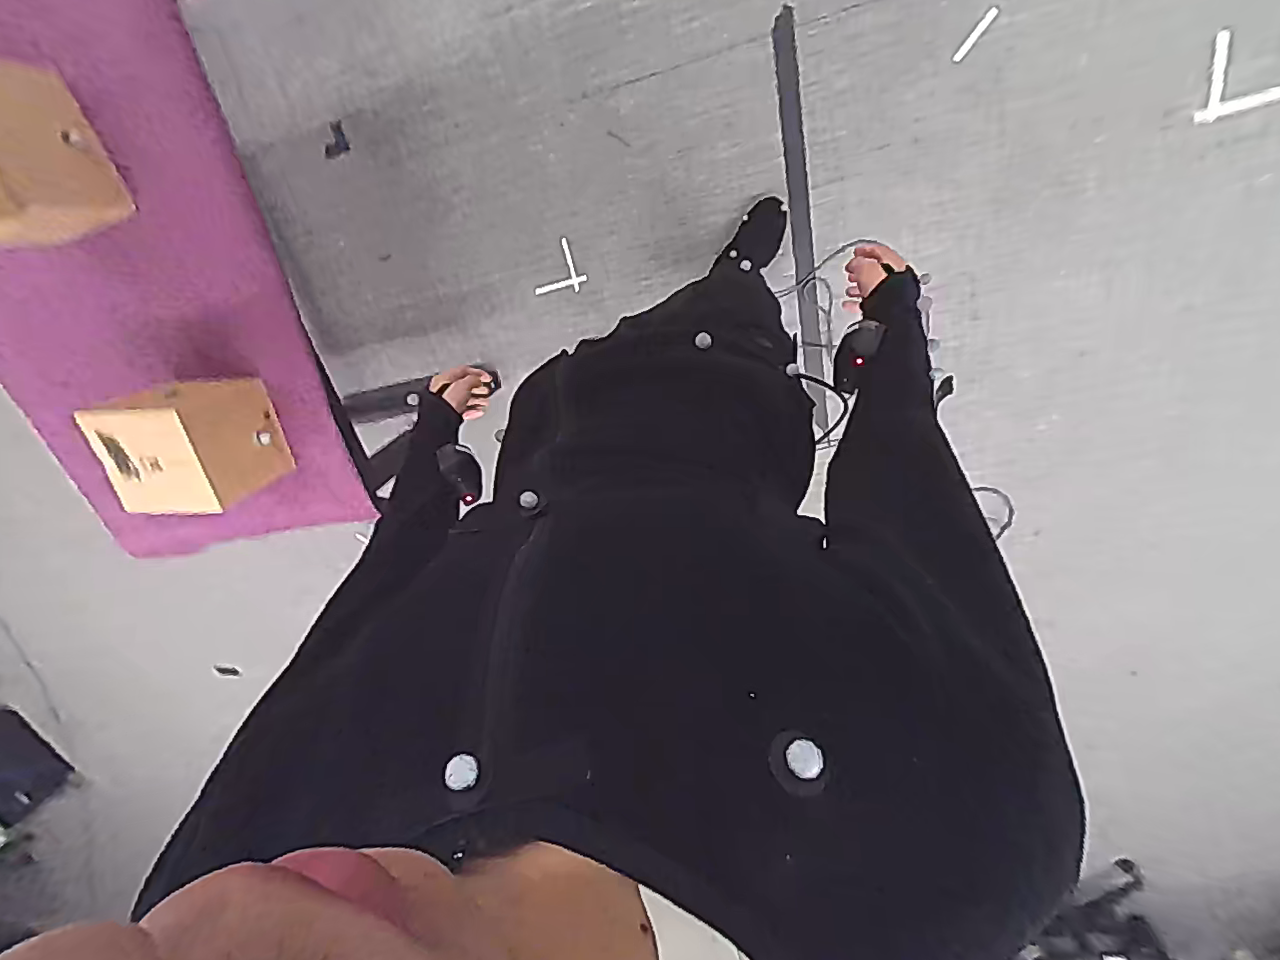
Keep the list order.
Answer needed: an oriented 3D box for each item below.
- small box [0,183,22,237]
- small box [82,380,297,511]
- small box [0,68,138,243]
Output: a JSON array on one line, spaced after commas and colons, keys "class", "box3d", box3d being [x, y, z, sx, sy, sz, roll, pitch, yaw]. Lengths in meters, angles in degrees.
[{"class": "small box", "box3d": [-0.855, -0.334, 0.578, 0.168, 0.176, 0.179, -11, 114, 15]}, {"class": "small box", "box3d": [-0.714, -0.061, 0.880, 0.179, 0.176, 0.168, -1, 117, 8]}, {"class": "small box", "box3d": [-0.847, -0.423, 0.716, 0.168, 0.176, 0.179, -11, 114, 15]}]
